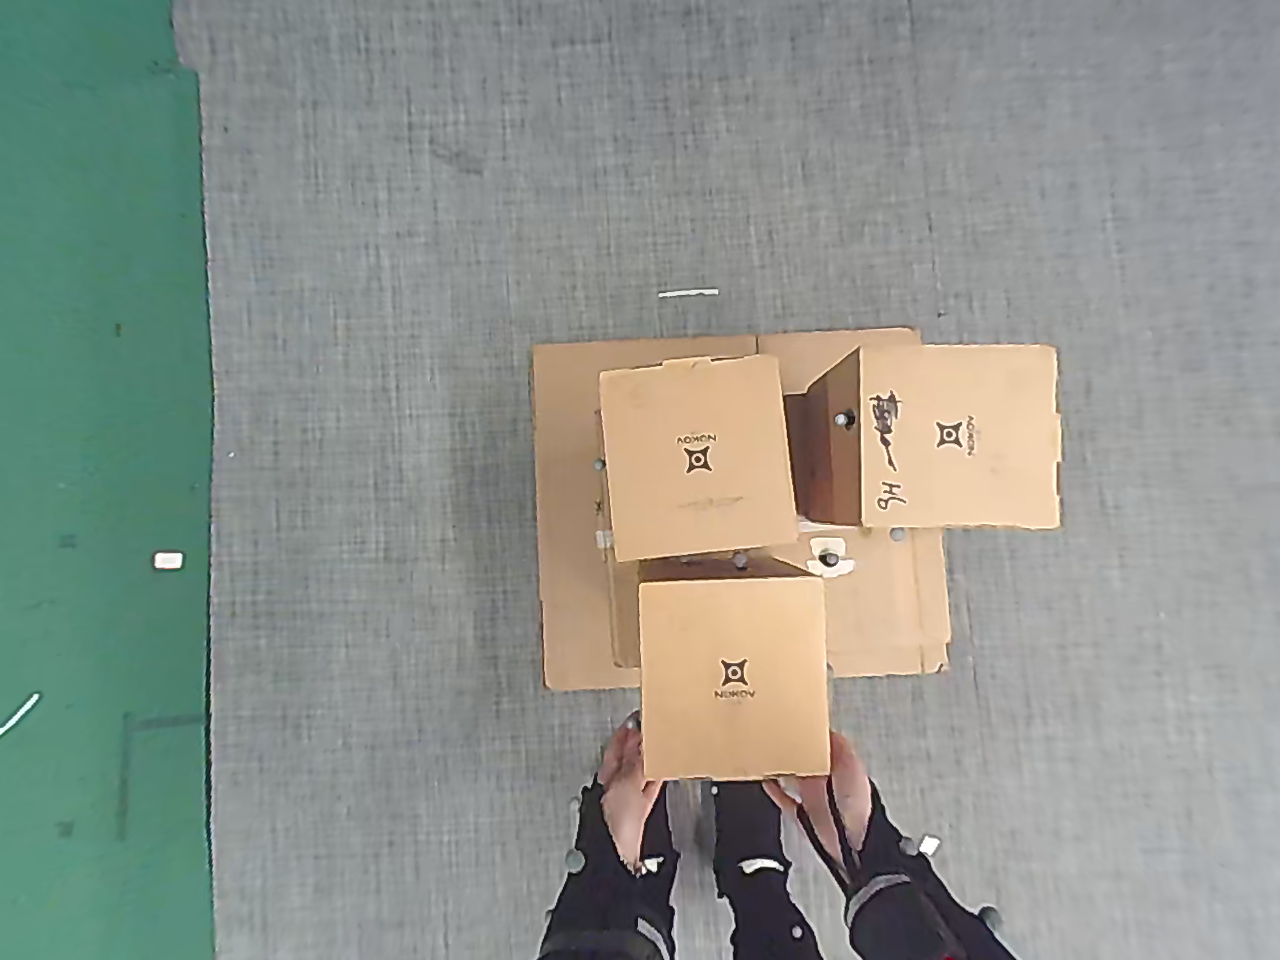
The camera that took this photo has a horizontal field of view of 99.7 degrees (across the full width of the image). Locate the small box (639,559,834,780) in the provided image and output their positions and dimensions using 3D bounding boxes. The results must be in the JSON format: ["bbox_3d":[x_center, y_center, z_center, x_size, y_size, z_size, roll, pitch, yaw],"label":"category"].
[{"bbox_3d":[0.084,0.174,0.551,0.168,0.176,0.179,-2,88,-1],"label":"small box"}]

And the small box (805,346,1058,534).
[{"bbox_3d":[0.285,-0.033,0.561,0.179,0.176,0.168,1,87,1],"label":"small box"}]
